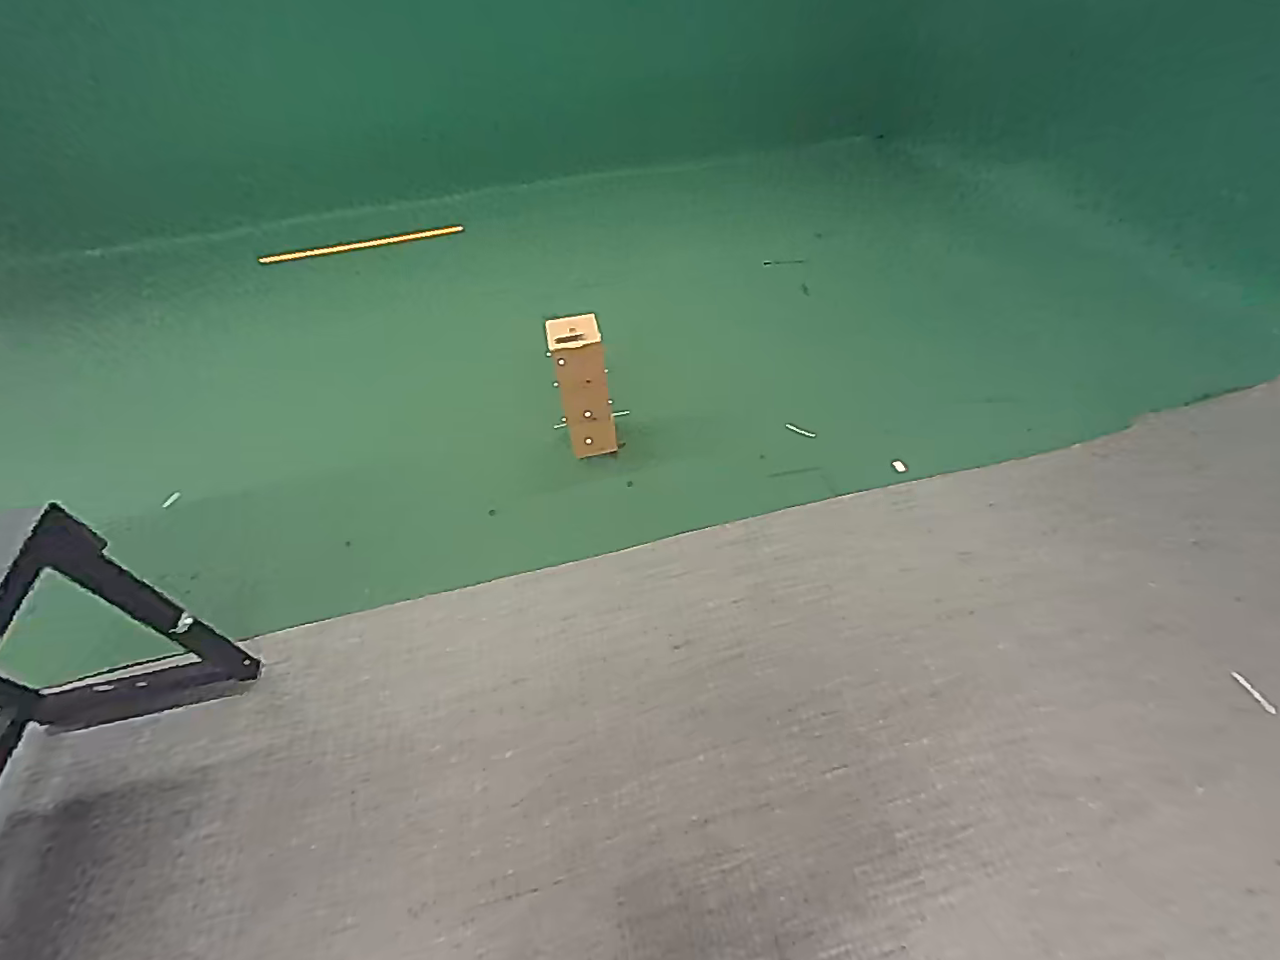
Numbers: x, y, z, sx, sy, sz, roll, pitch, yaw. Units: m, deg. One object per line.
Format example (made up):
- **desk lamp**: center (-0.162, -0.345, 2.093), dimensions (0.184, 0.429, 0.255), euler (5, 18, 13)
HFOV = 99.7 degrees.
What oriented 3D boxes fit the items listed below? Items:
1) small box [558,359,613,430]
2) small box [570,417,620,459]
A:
- **small box**: center (-0.195, -0.308, 1.944), dimensions (0.168, 0.176, 0.179), euler (-11, 48, -3)
- **small box**: center (-0.178, -0.199, 2.067), dimensions (0.168, 0.176, 0.179), euler (-13, 48, -5)
